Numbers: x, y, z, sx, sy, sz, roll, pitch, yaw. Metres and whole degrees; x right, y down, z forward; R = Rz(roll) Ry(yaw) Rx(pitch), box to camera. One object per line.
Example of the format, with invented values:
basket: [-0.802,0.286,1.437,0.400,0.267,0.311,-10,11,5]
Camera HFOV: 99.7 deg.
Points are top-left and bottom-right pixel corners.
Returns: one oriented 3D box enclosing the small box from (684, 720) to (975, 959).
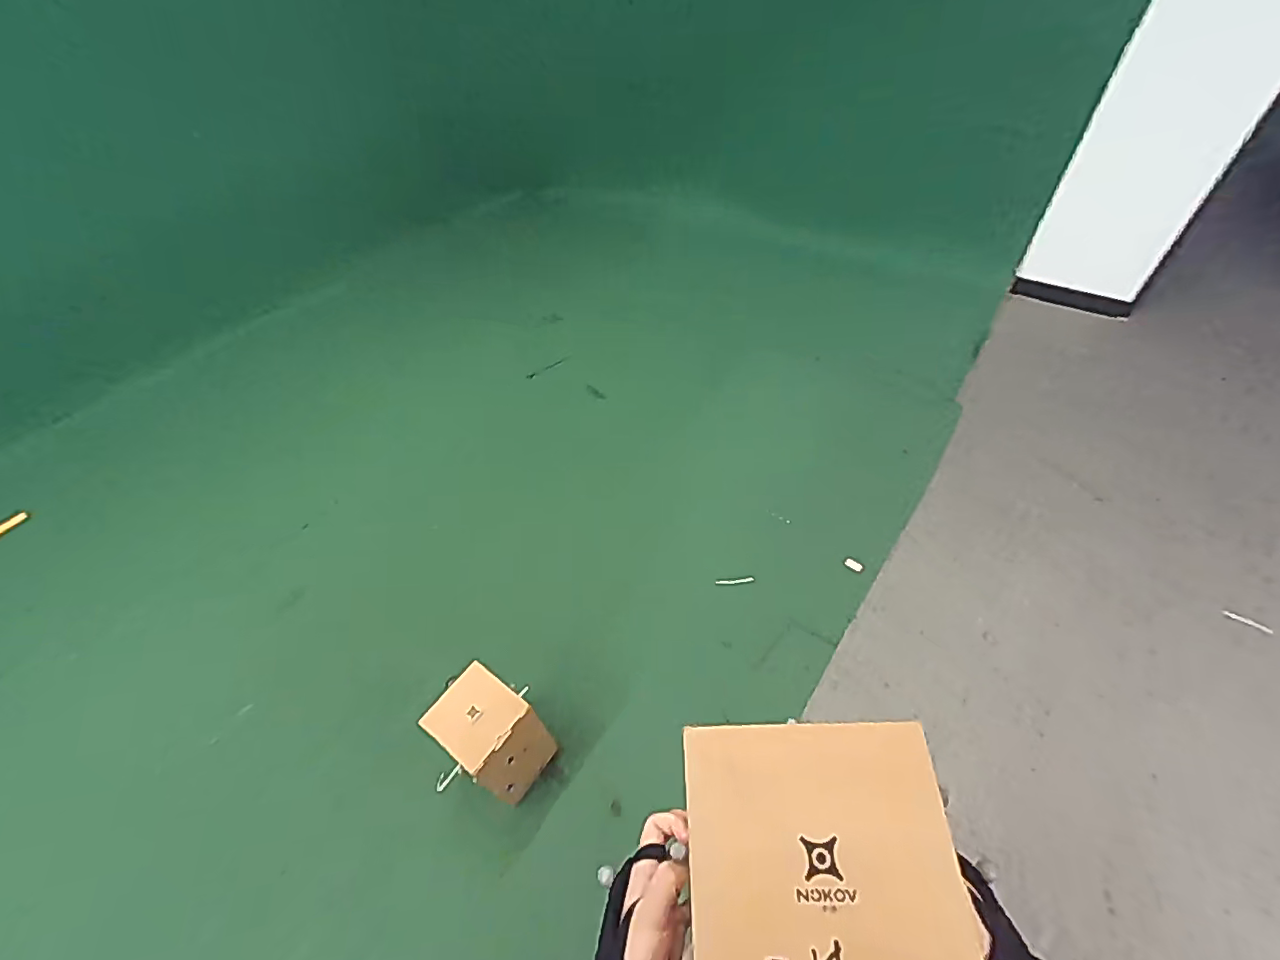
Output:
small box: [0.123,0.292,0.408,0.168,0.176,0.179,-6,57,7]

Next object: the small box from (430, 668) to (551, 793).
small box: [-0.324,0.561,1.203,0.179,0.176,0.168,26,57,26]
